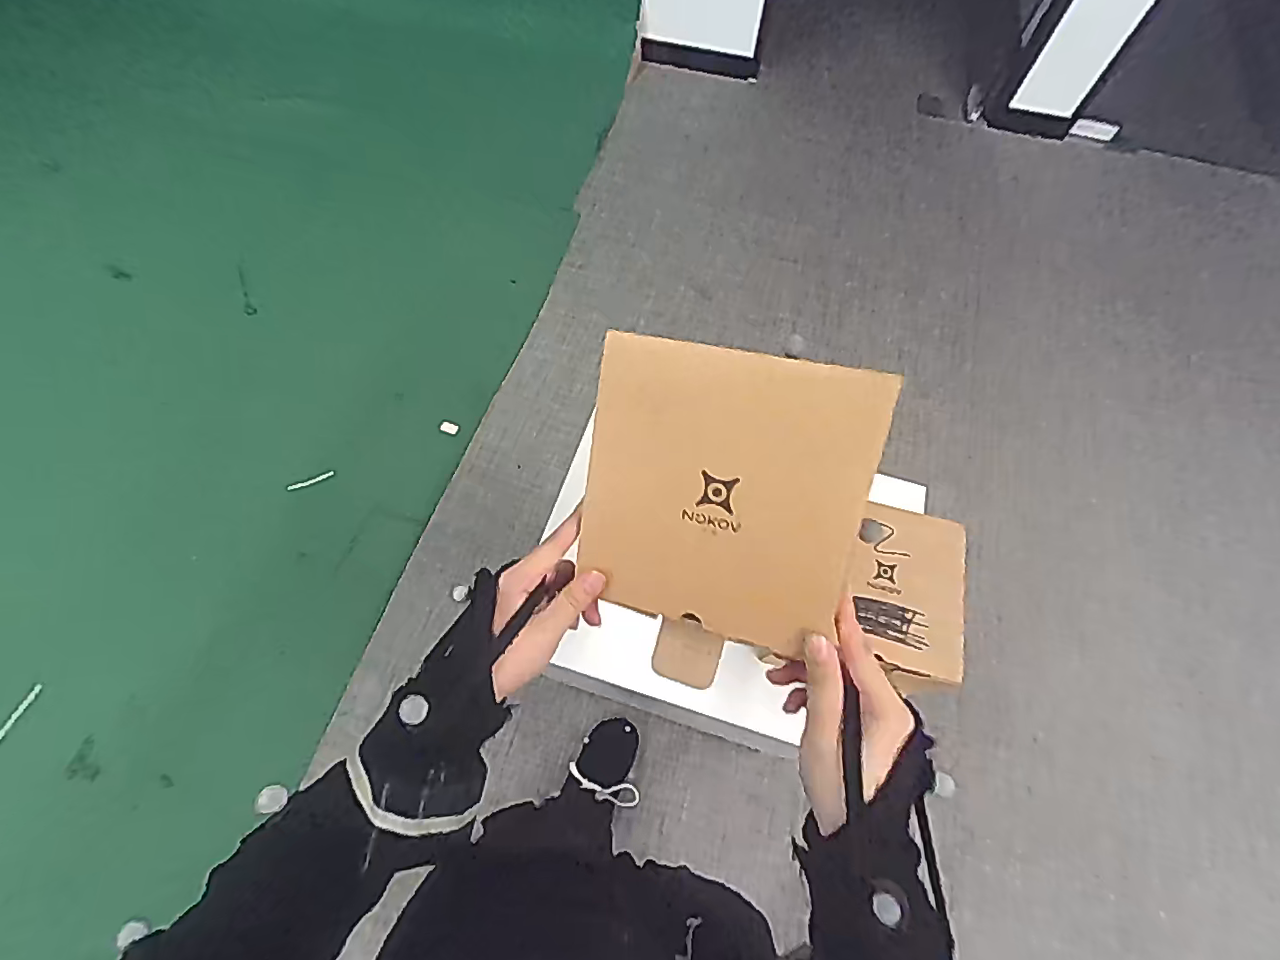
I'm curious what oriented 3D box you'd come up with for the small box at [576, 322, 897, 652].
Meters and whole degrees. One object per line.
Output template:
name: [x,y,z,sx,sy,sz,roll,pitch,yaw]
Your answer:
small box: [0.069,-0.012,0.399,0.168,0.176,0.179,13,106,14]
